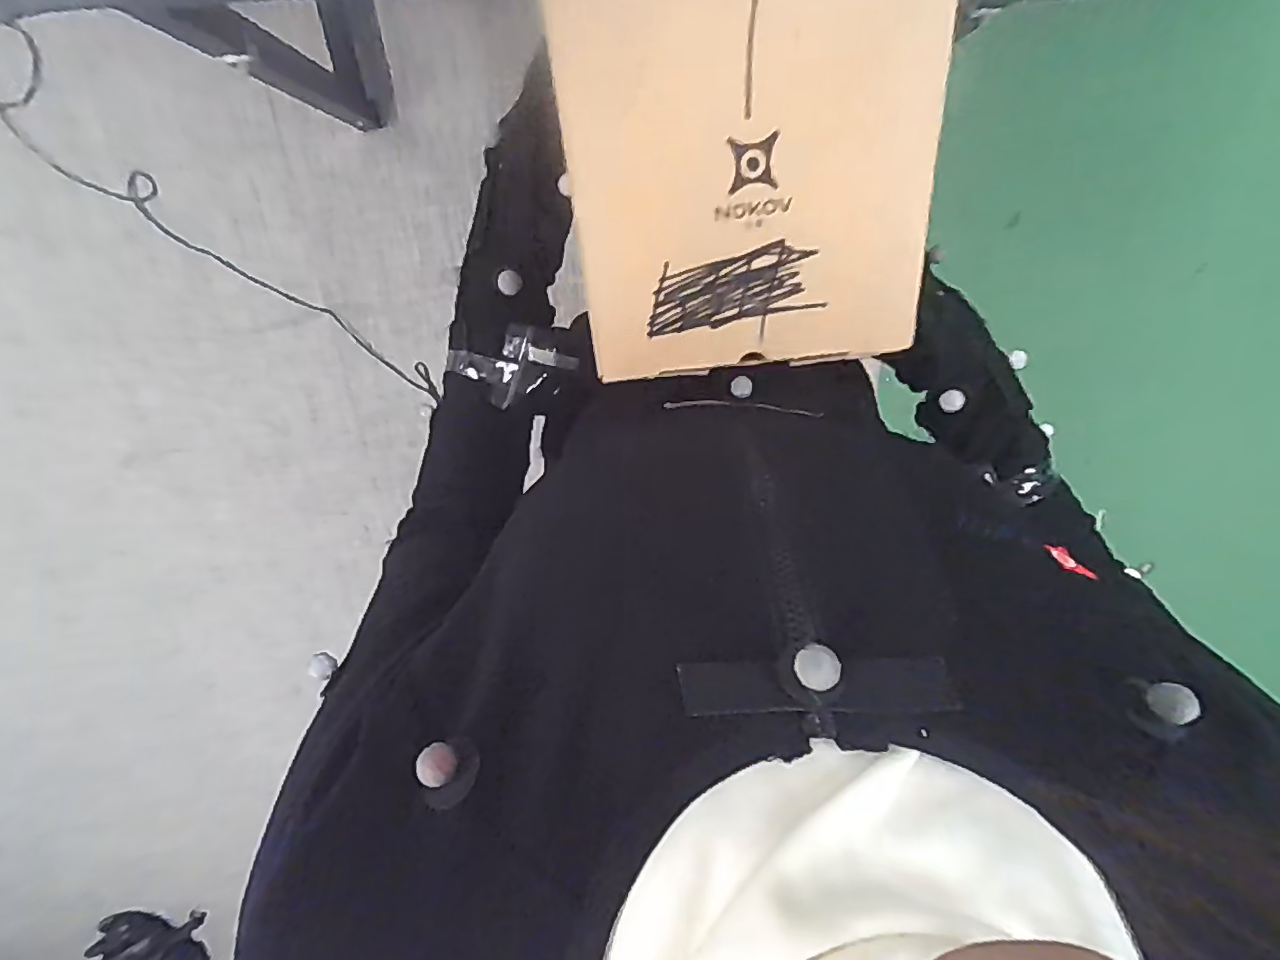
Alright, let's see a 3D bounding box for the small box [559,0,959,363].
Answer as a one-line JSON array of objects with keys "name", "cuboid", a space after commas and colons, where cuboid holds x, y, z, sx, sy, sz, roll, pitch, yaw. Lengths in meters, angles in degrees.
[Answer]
[{"name": "small box", "cuboid": [0.056, -0.185, 0.323, 0.168, 0.176, 0.179, -4, 120, 4]}]
